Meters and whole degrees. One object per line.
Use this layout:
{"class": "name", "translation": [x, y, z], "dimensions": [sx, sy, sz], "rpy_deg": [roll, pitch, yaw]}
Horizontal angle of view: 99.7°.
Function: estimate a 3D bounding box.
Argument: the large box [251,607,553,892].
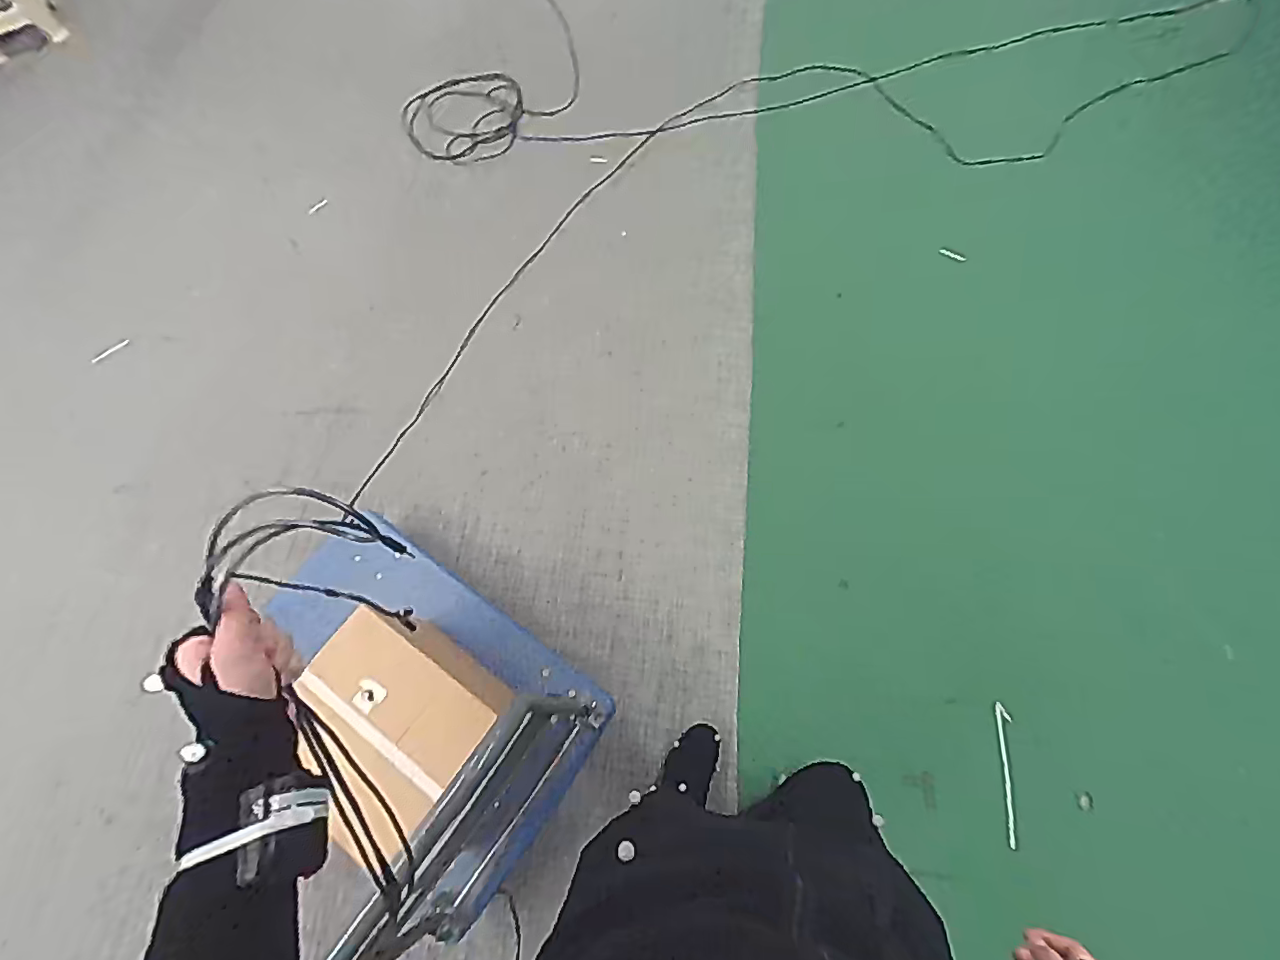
{"class": "large box", "translation": [-0.451, 0.517, 1.111], "dimensions": [0.408, 0.320, 0.320], "rpy_deg": [32, 74, 15]}
